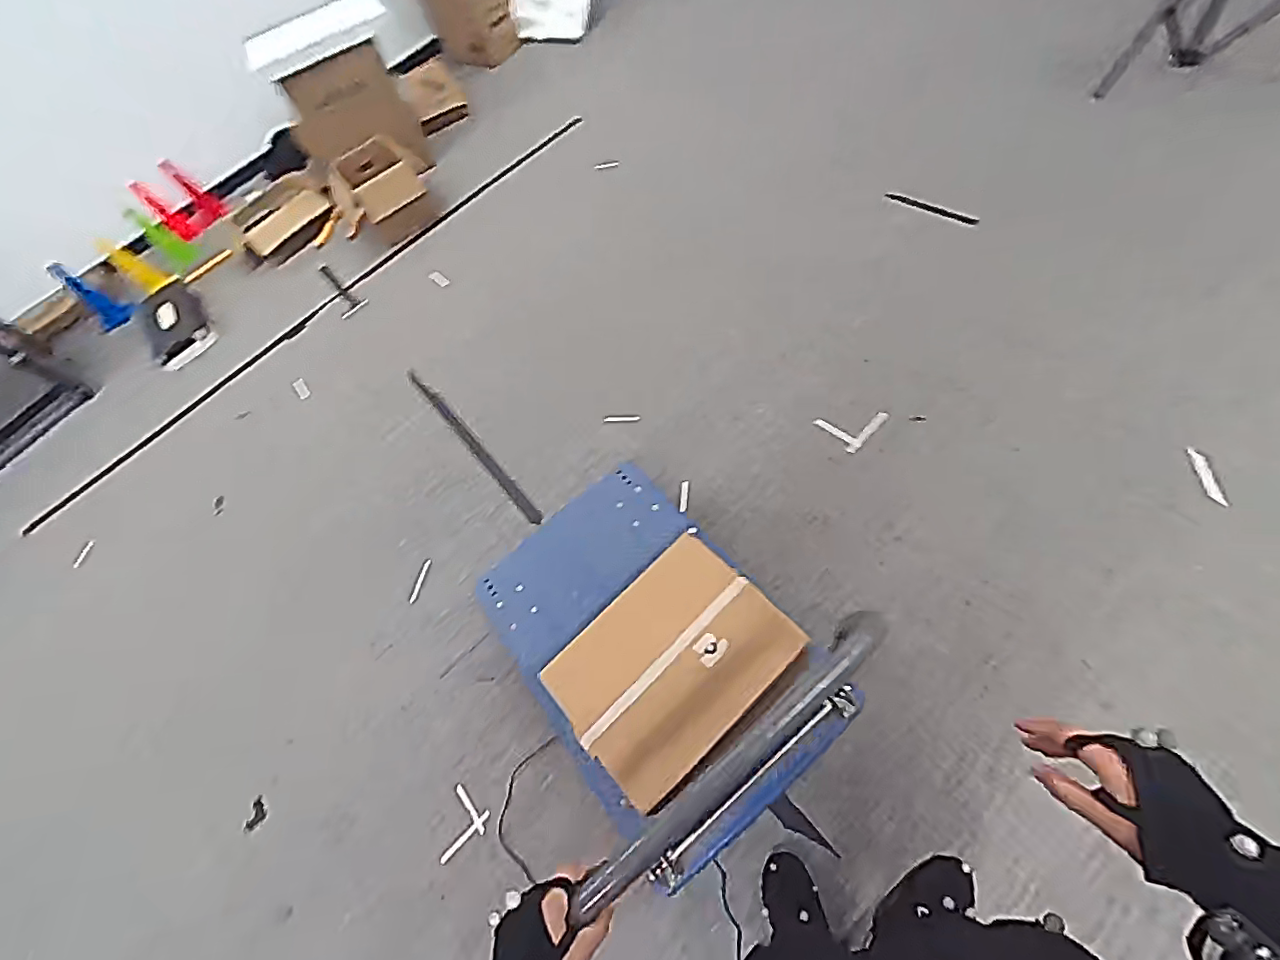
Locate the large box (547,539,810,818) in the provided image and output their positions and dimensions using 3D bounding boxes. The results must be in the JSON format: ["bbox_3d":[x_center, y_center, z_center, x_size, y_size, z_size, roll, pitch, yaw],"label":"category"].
[{"bbox_3d":[0.094,0.408,1.106,0.408,0.320,0.320,-42,59,-11],"label":"large box"}]
